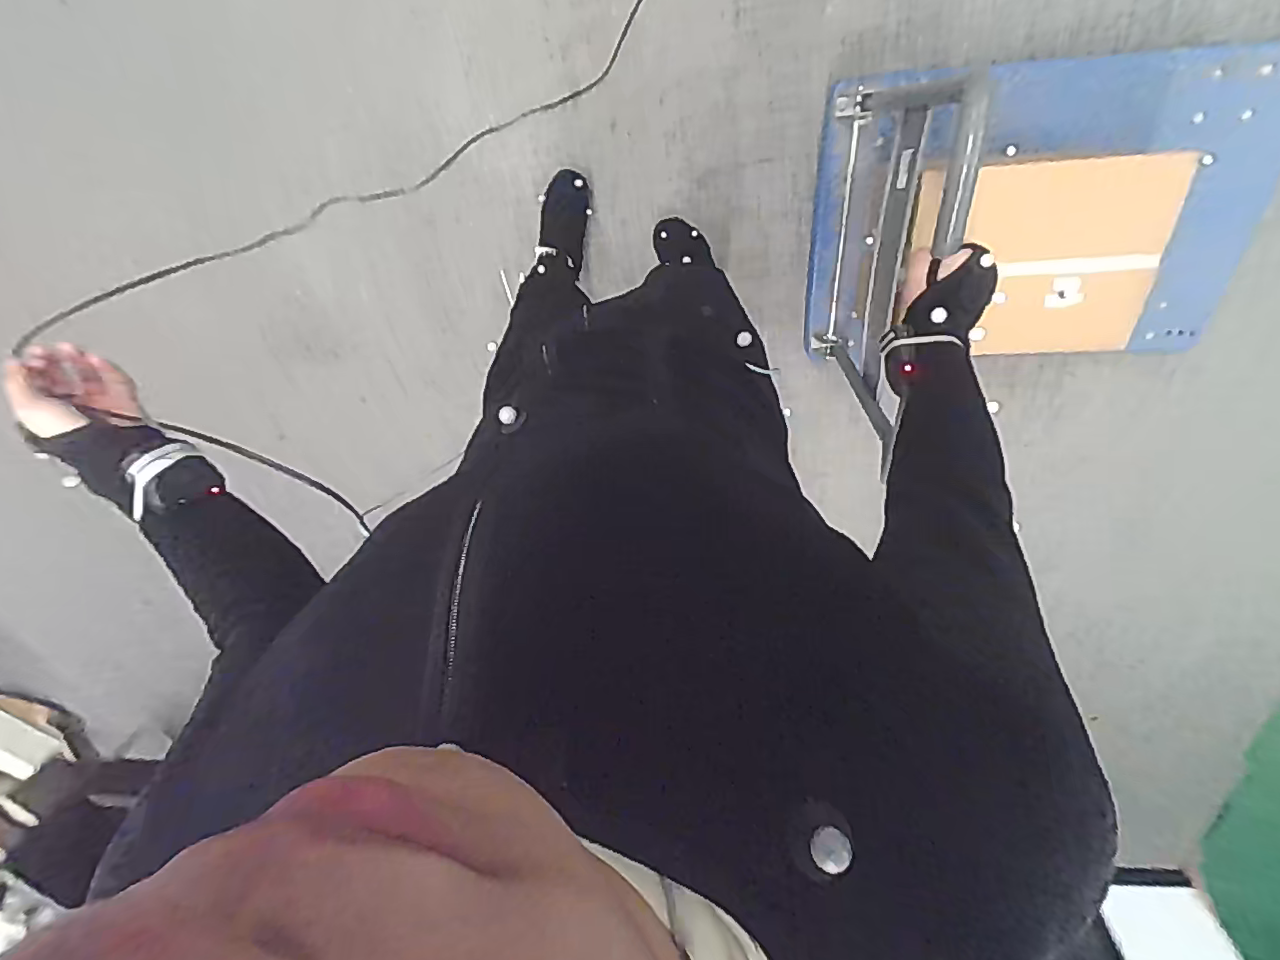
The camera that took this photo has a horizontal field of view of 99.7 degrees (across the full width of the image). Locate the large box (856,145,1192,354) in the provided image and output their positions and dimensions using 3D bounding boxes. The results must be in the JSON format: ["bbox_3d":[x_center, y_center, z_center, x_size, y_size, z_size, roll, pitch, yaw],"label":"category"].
[{"bbox_3d":[0.674,-0.452,1.053,0.408,0.320,0.320,-1,123,7],"label":"large box"}]
